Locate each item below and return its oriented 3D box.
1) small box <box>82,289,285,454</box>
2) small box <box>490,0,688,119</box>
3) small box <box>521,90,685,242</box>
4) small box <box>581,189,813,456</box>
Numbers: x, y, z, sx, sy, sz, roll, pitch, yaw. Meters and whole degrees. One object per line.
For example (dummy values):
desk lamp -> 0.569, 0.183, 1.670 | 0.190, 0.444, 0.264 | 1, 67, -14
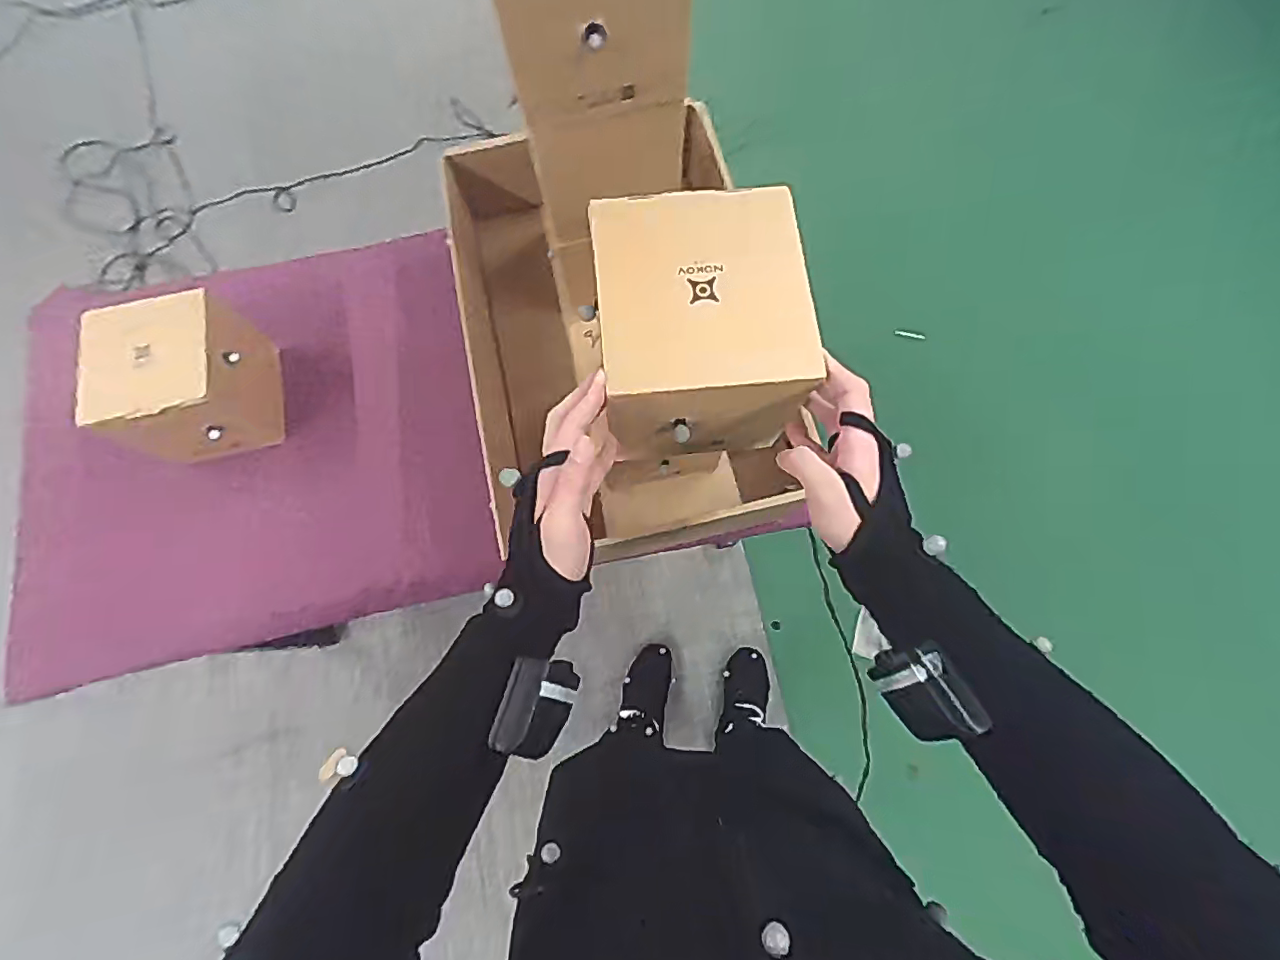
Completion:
small box -> -0.660, -0.148, 0.803 | 0.168, 0.176, 0.179 | -12, 74, -3
small box -> -0.053, -0.458, 0.479 | 0.168, 0.176, 0.179 | -13, 76, -2
small box -> -0.050, -0.421, 0.640 | 0.168, 0.176, 0.179 | -14, 76, -1
small box -> 0.041, -0.127, 0.496 | 0.168, 0.176, 0.179 | -6, 74, -2
